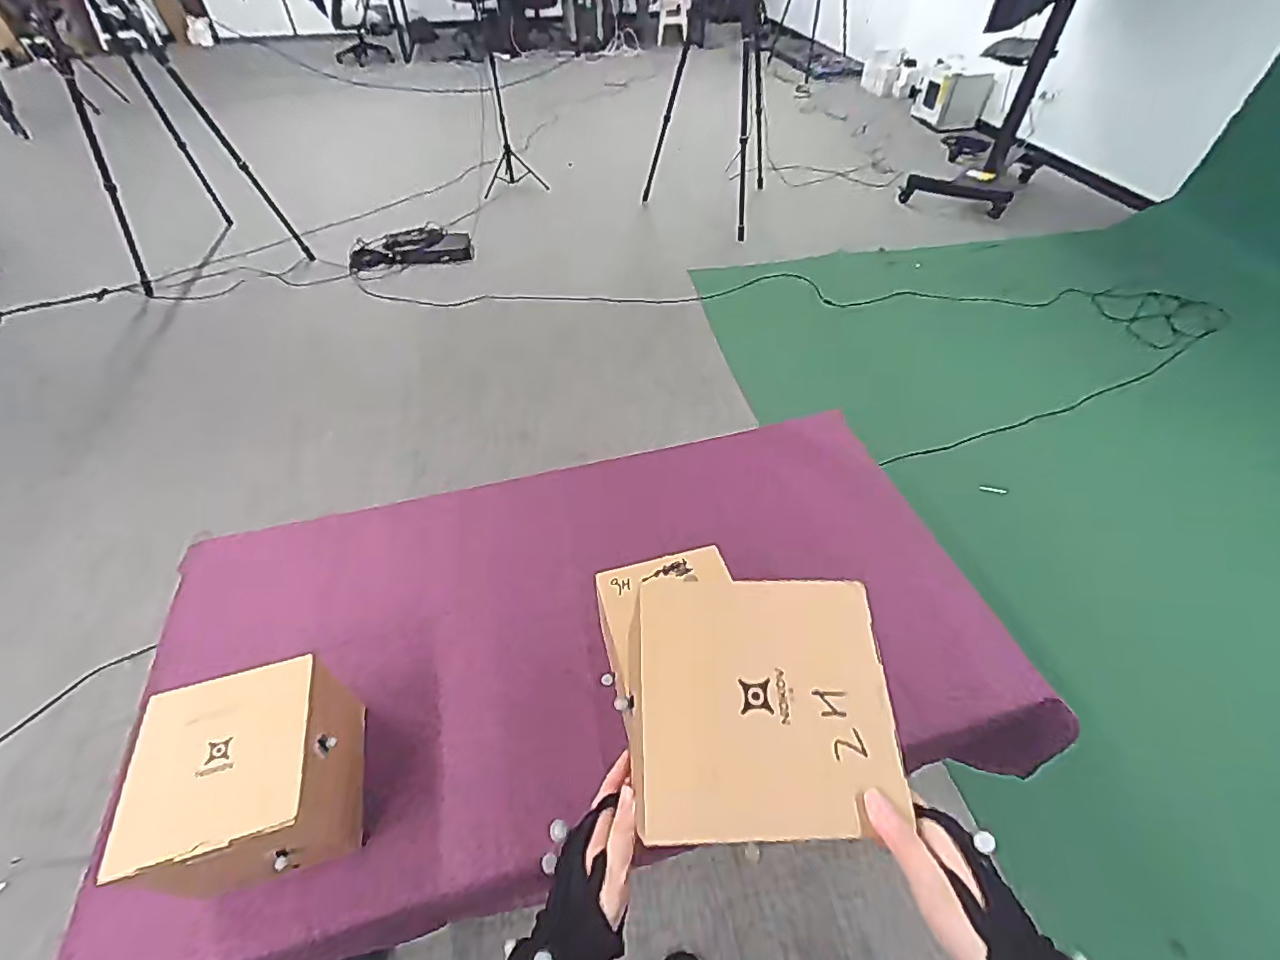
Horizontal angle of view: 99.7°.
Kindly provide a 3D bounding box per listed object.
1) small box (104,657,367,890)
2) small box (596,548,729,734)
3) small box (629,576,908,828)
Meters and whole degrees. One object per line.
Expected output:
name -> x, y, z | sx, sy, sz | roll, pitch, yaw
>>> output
small box -> -0.422, 0.332, 0.606 | 0.168, 0.176, 0.179 | -12, 49, -12
small box -> 0.044, 0.219, 0.704 | 0.168, 0.176, 0.179 | -12, 50, -10
small box -> 0.080, 0.184, 0.446 | 0.179, 0.176, 0.168 | 1, 63, -4
